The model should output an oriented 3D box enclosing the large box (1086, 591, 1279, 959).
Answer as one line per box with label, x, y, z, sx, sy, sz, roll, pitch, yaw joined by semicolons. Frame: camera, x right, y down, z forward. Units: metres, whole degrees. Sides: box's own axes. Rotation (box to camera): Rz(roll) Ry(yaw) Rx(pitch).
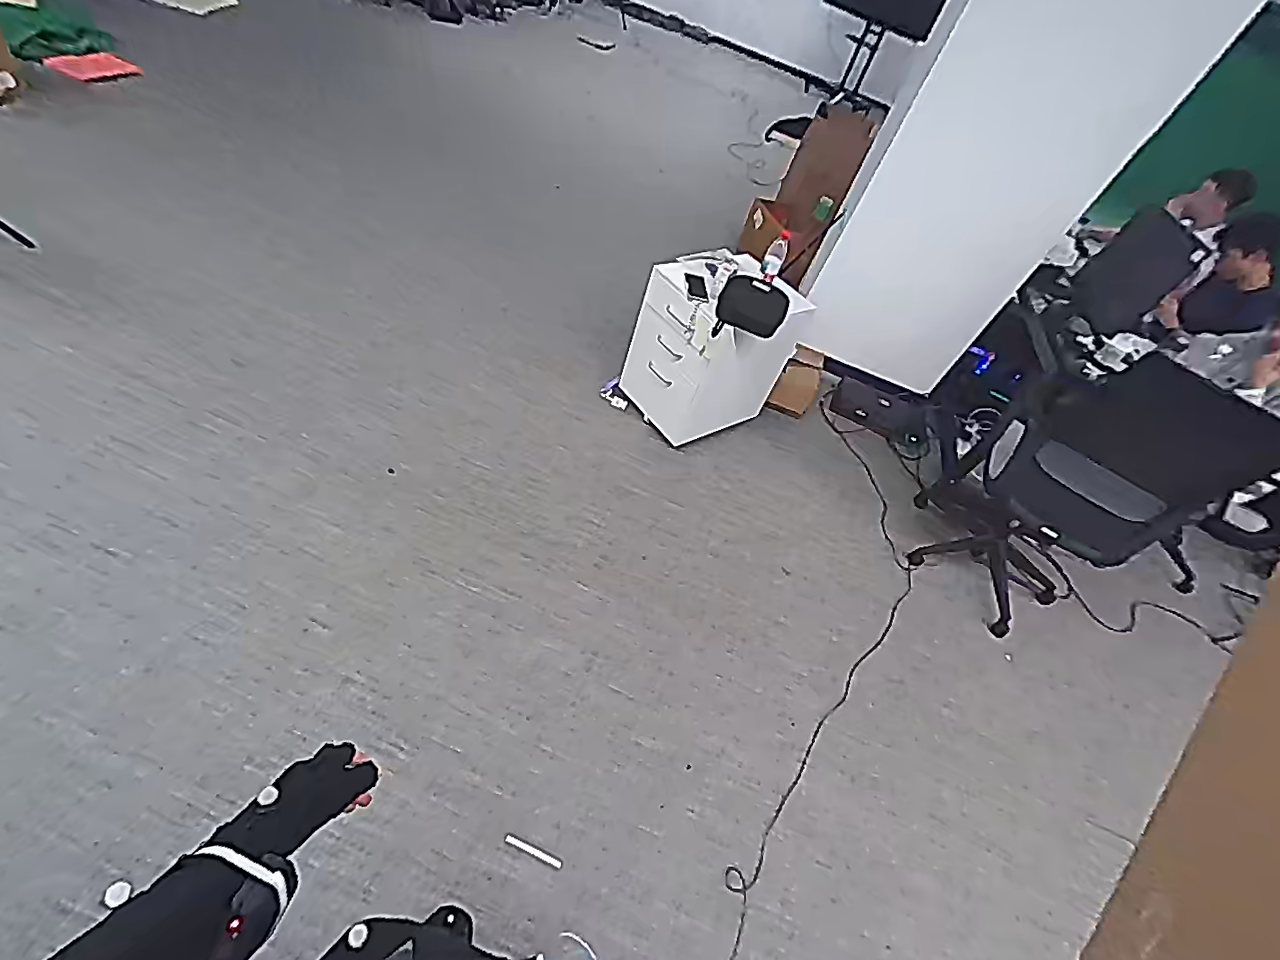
large box;0.355;0.177;0.089;0.320;0.408;0.320;30;88;34
